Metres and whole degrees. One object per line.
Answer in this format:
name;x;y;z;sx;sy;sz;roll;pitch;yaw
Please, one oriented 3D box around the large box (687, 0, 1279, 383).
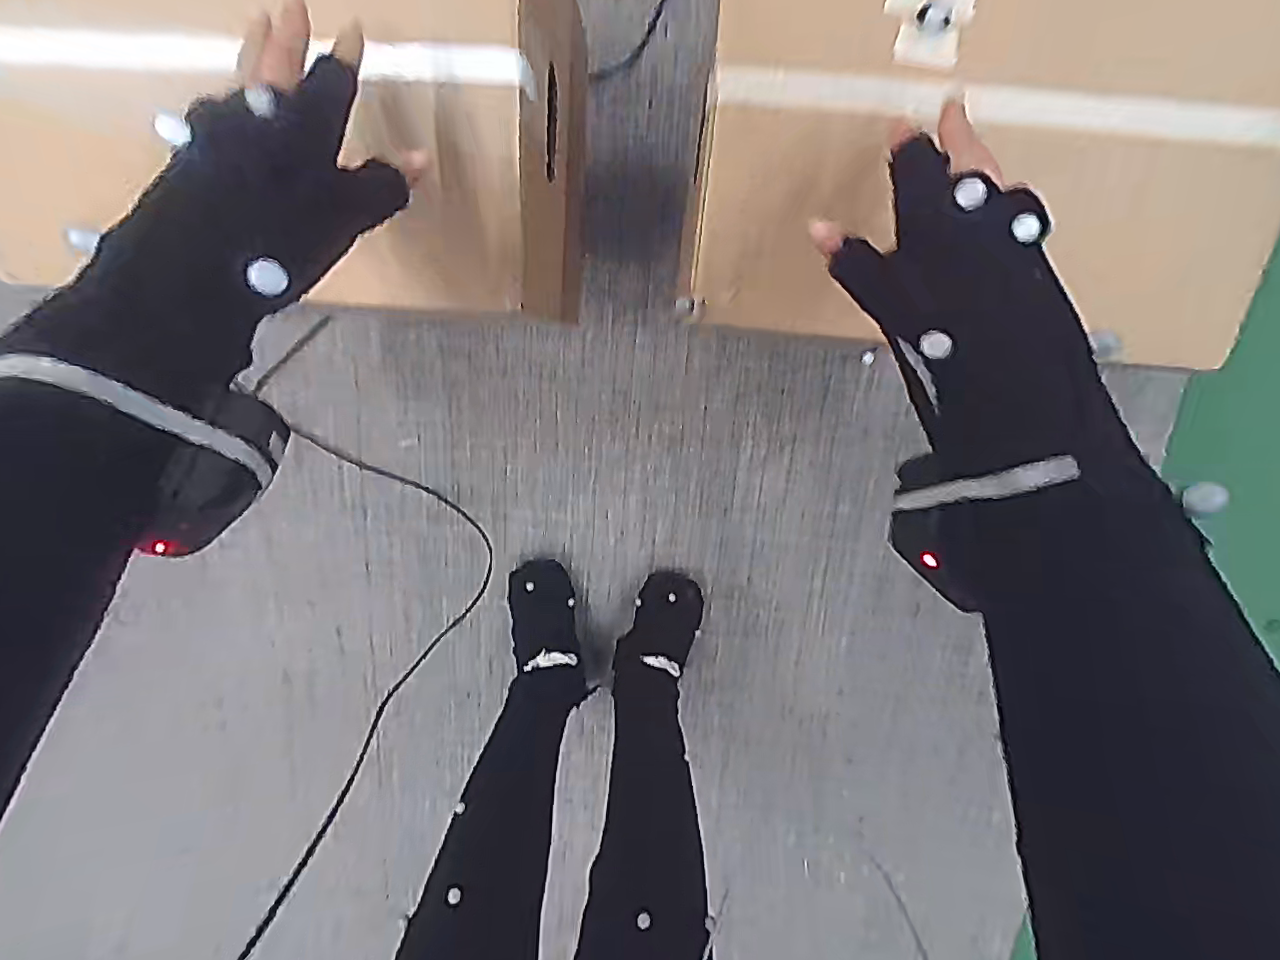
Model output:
large box;0.268;-0.282;0.541;0.408;0.320;0.320;6;104;1
